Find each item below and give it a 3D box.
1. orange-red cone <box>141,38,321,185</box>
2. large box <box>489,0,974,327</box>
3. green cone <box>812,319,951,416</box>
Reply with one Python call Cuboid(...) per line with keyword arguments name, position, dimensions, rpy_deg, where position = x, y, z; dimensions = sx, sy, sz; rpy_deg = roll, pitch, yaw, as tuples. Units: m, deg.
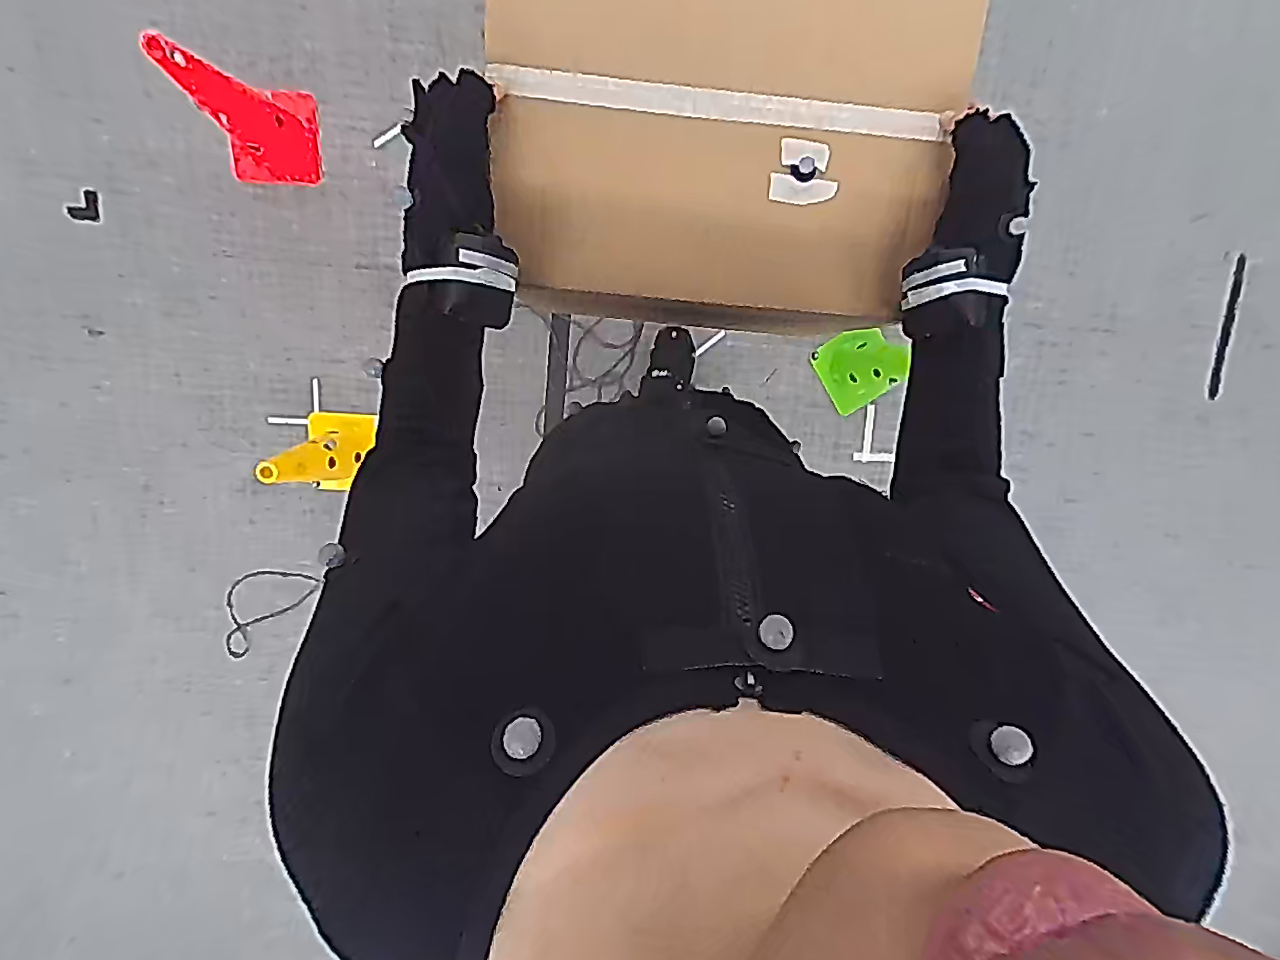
Cuboid(name="orange-red cone", position=(-0.847, -0.770, 1.102), dimensions=(0.198, 0.360, 0.199), rpy_deg=(2, 101, -3))
Cuboid(name="large box", position=(0.065, -0.351, 0.601), dimensions=(0.408, 0.320, 0.320), rpy_deg=(4, 103, -4))
Cuboid(name="green cone", position=(0.597, -0.272, 1.277), dimensions=(0.202, 0.368, 0.200), rpy_deg=(-33, 101, 1))
